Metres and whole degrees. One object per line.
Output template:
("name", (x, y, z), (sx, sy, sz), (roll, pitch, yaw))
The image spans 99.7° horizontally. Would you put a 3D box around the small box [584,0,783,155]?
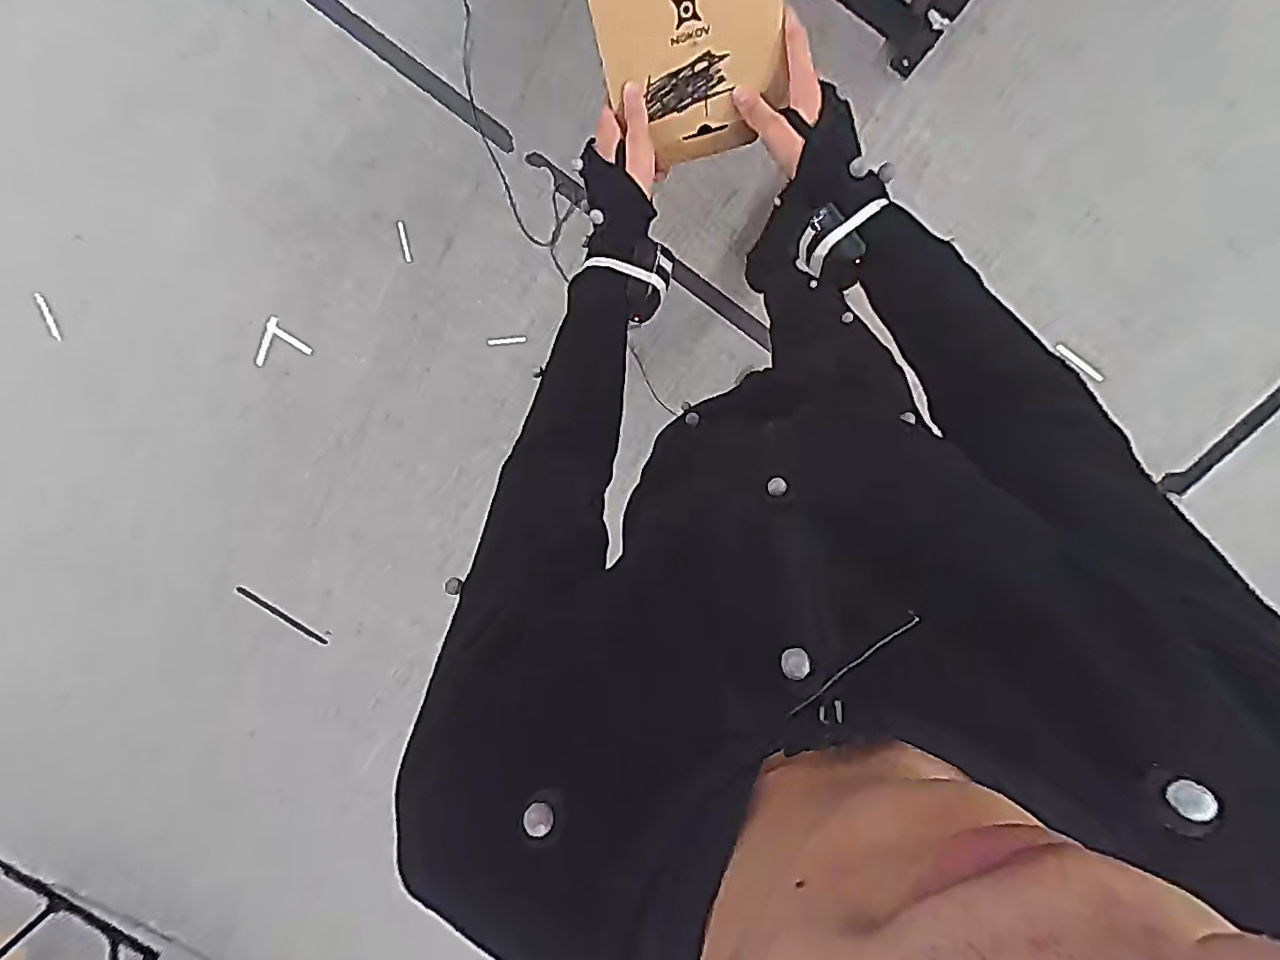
("small box", (0.046, -0.450, 0.549), (0.168, 0.176, 0.179), (-9, 117, 12))
